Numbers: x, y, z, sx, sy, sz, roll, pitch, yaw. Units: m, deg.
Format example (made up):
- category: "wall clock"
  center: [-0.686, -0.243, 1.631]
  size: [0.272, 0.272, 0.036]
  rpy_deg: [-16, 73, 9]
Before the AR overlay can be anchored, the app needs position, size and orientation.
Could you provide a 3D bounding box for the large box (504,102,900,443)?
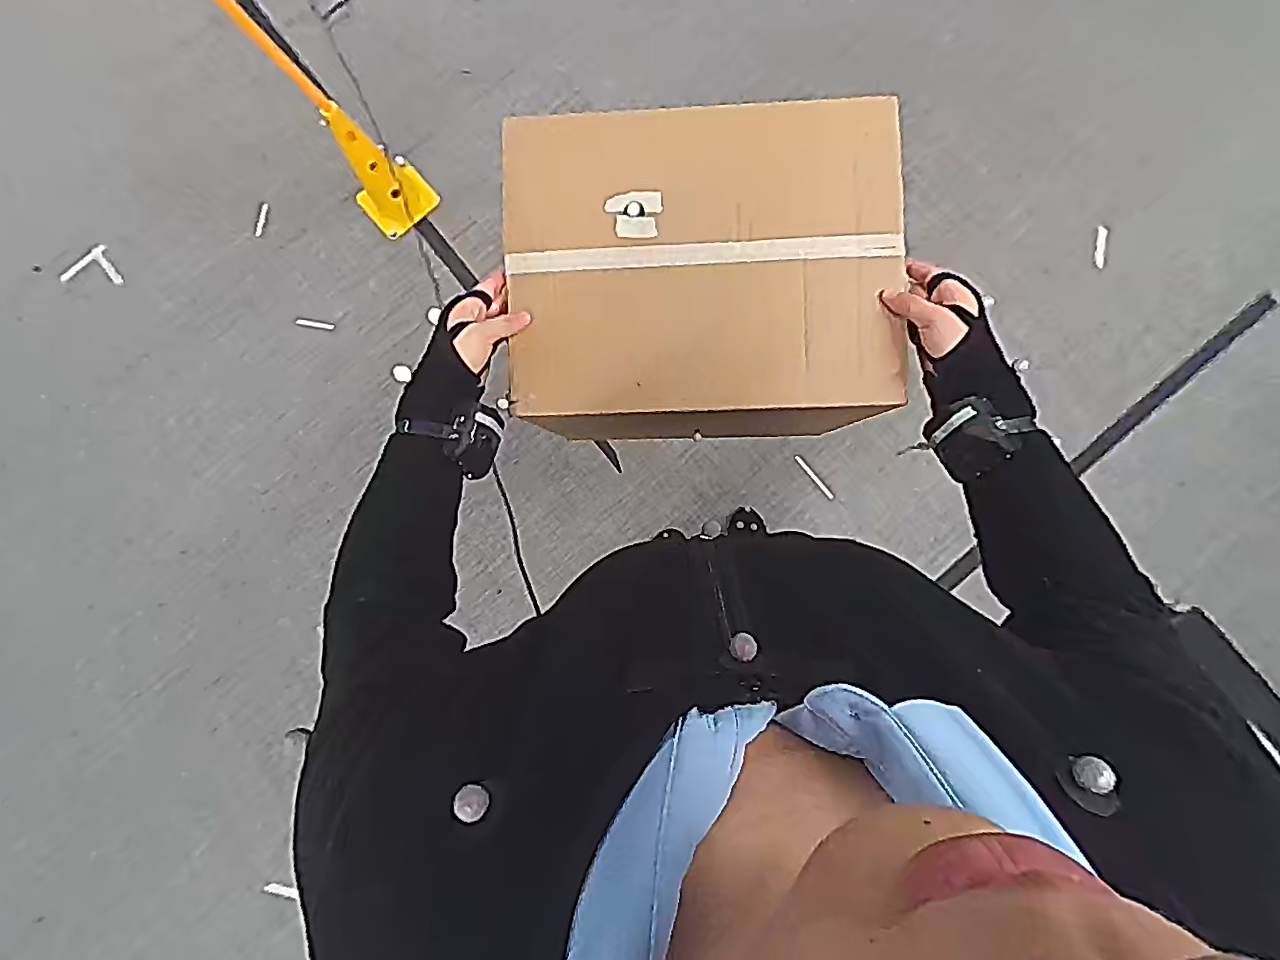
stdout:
- category: "large box"
  center: [0.070, -0.223, 0.714]
  size: [0.408, 0.320, 0.320]
  rpy_deg: [-3, 88, 3]
